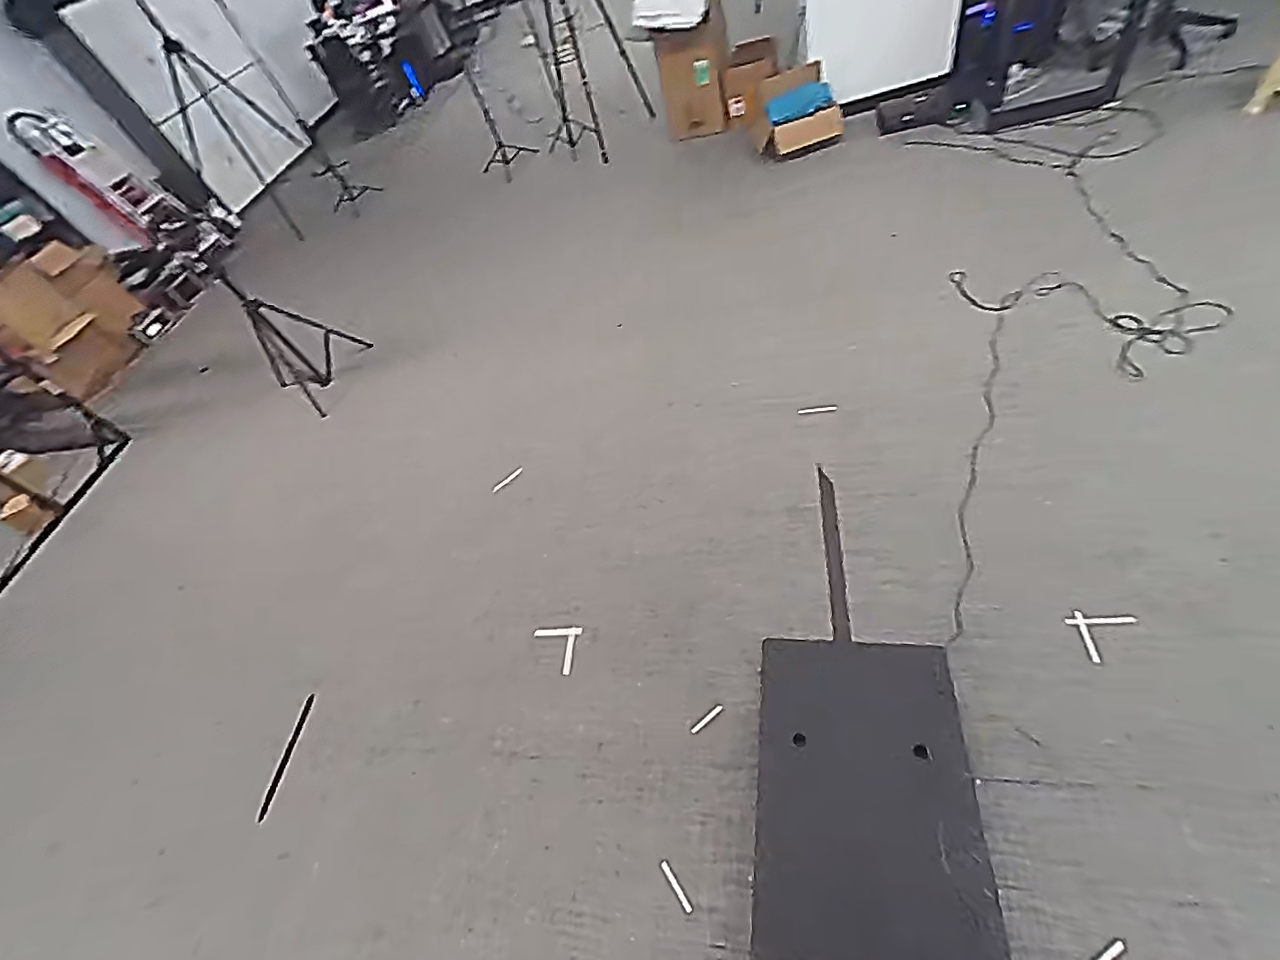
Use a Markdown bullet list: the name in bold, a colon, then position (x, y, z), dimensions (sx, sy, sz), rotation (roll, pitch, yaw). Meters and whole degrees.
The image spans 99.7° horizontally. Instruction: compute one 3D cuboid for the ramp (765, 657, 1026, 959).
- **ramp**: position (0.526, 0.844, 1.199), dimensions (0.509, 0.206, 0.991), rotation (-7, 50, 17)
